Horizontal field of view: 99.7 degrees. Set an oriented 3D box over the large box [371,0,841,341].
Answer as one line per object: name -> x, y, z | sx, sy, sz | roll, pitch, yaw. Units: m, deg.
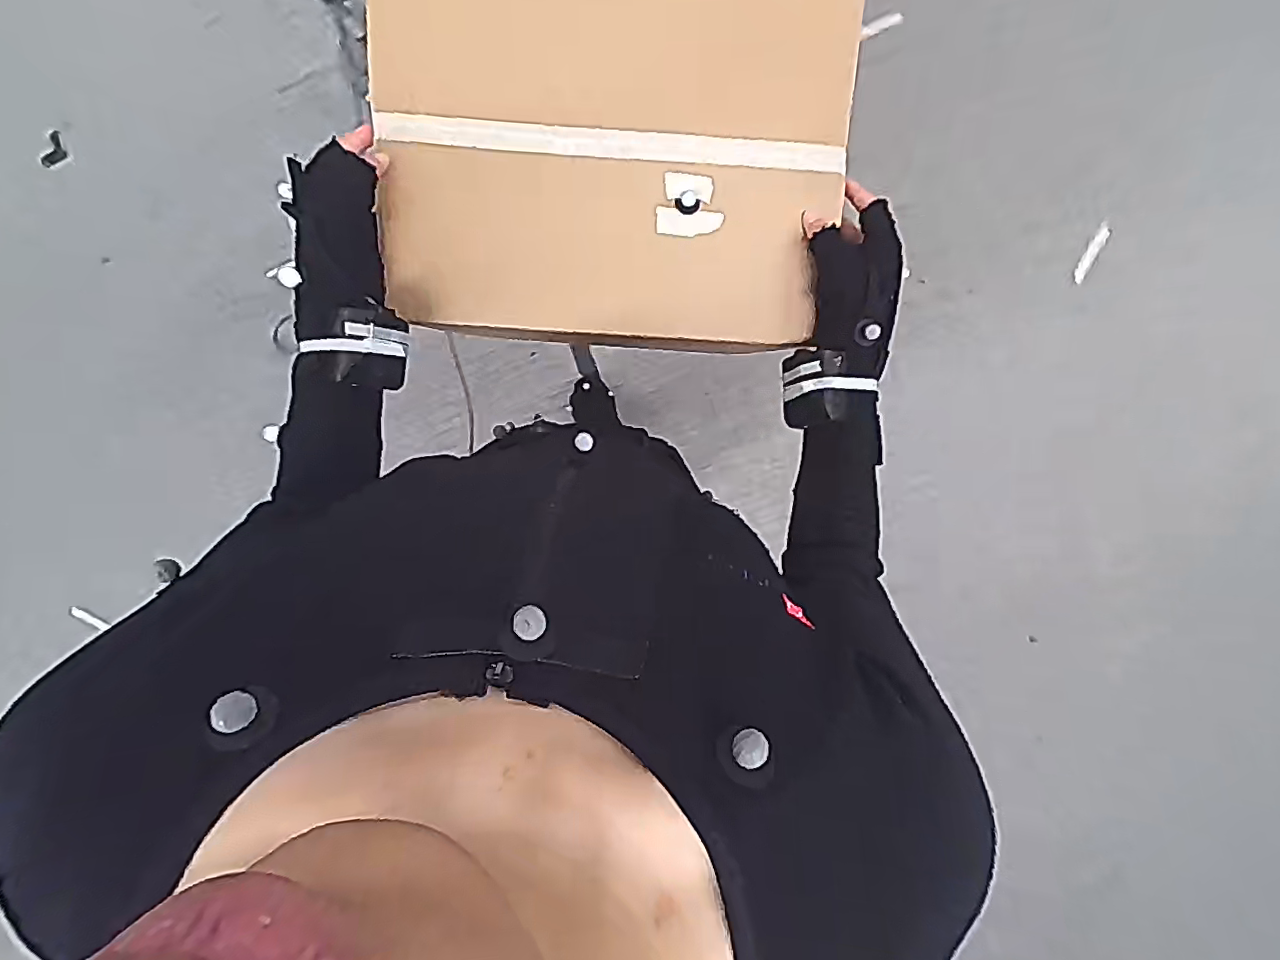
large box -> -0.037, -0.331, 0.621 | 0.408, 0.320, 0.320 | 2, 102, -3
